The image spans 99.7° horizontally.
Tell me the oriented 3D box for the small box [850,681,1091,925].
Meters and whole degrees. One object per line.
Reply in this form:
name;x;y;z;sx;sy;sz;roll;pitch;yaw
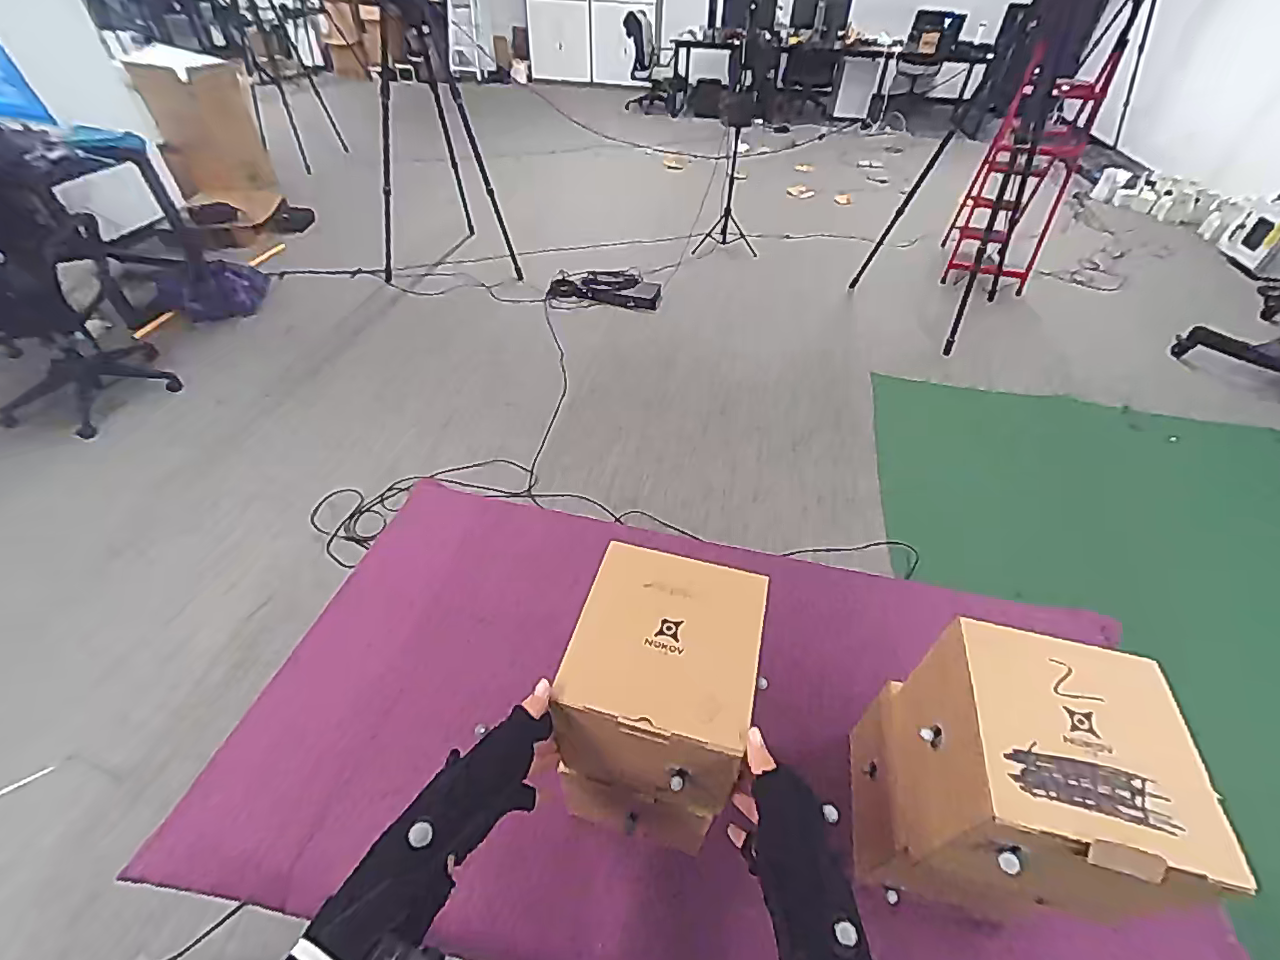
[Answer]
small box;0.347;0.365;0.609;0.168;0.176;0.179;15;47;10

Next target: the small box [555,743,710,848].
small box;0.012;0.311;0.653;0.168;0.176;0.179;13;46;10

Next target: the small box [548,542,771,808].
small box;0.024;0.195;0.539;0.168;0.176;0.179;13;46;10
